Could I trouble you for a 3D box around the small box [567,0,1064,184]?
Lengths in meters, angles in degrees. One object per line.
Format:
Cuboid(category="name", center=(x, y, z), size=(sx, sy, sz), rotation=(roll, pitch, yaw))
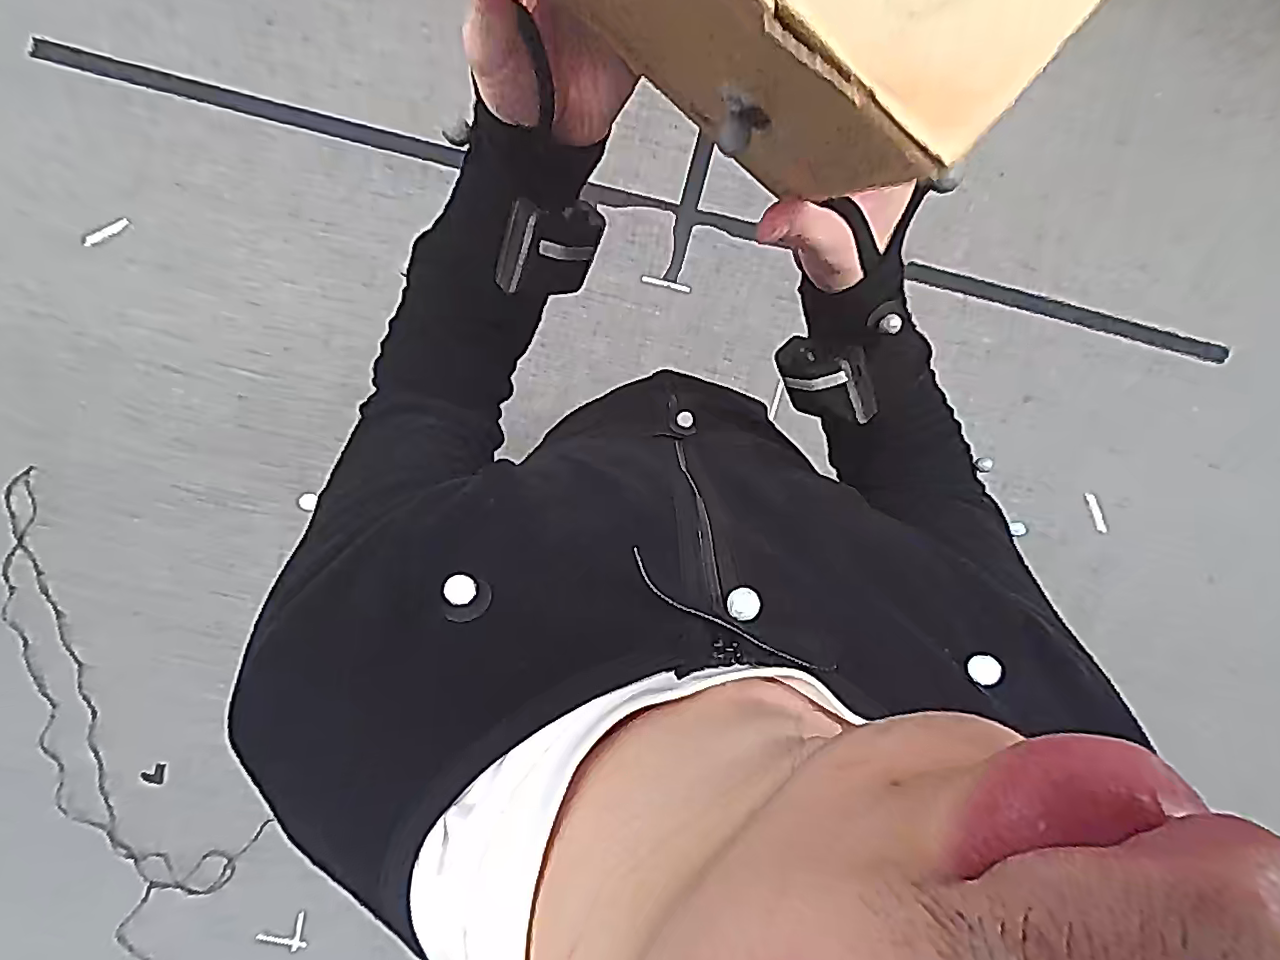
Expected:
Cuboid(category="small box", center=(0.061, -0.225, 0.175), size=(0.168, 0.176, 0.179), rotation=(32, 111, -15))
